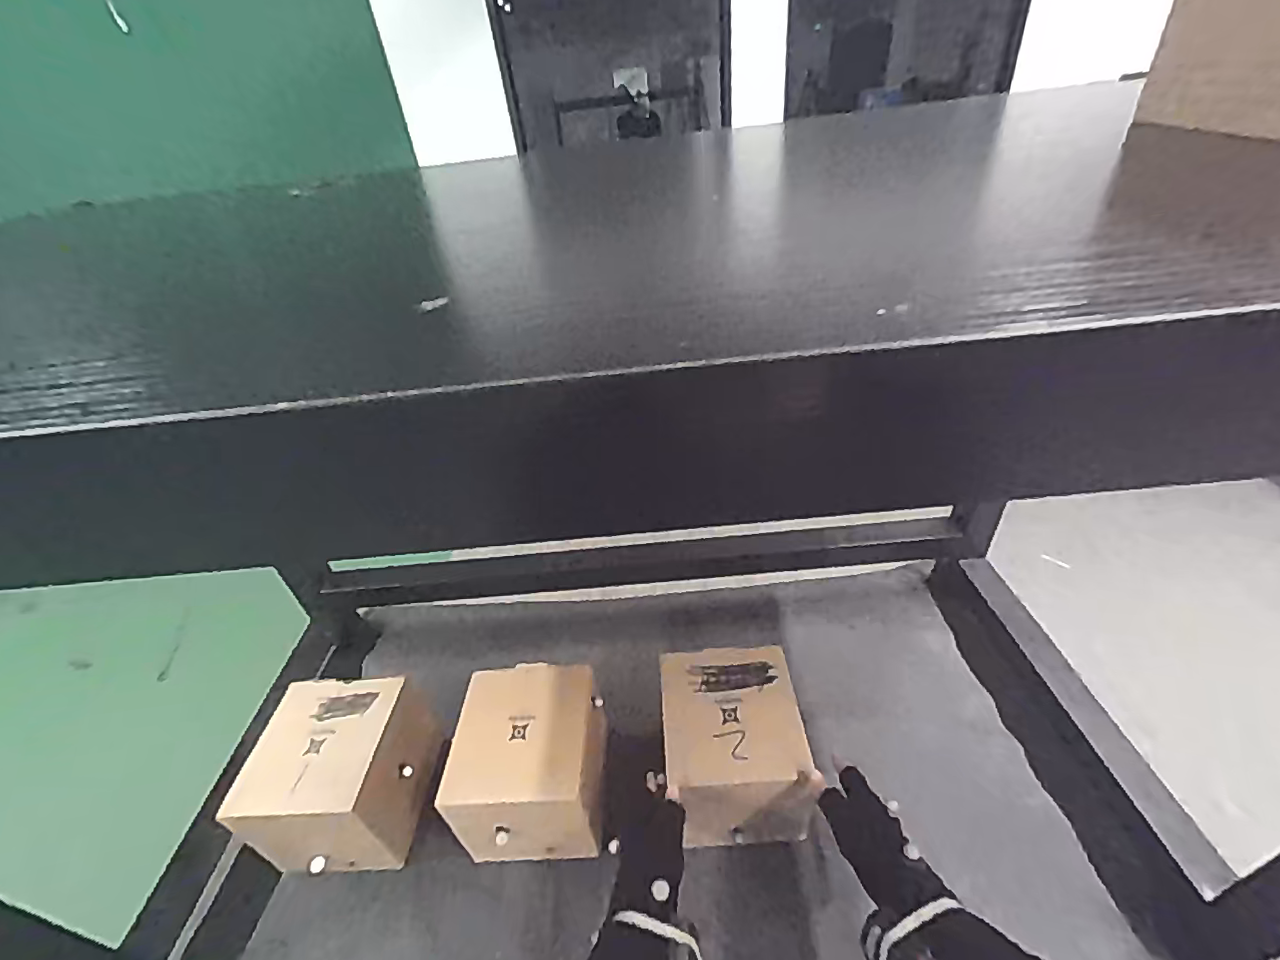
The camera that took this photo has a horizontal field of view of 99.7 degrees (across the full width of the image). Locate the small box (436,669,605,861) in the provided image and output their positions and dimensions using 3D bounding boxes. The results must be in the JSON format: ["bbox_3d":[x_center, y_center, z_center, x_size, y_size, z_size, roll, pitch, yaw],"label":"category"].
[{"bbox_3d":[-0.141,0.378,0.715,0.168,0.176,0.179,-5,35,3],"label":"small box"}]

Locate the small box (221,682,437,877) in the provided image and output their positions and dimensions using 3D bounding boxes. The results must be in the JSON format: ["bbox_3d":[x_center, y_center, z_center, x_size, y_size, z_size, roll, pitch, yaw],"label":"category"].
[{"bbox_3d":[-0.393,0.398,0.726,0.168,0.176,0.179,-5,36,4],"label":"small box"}]
